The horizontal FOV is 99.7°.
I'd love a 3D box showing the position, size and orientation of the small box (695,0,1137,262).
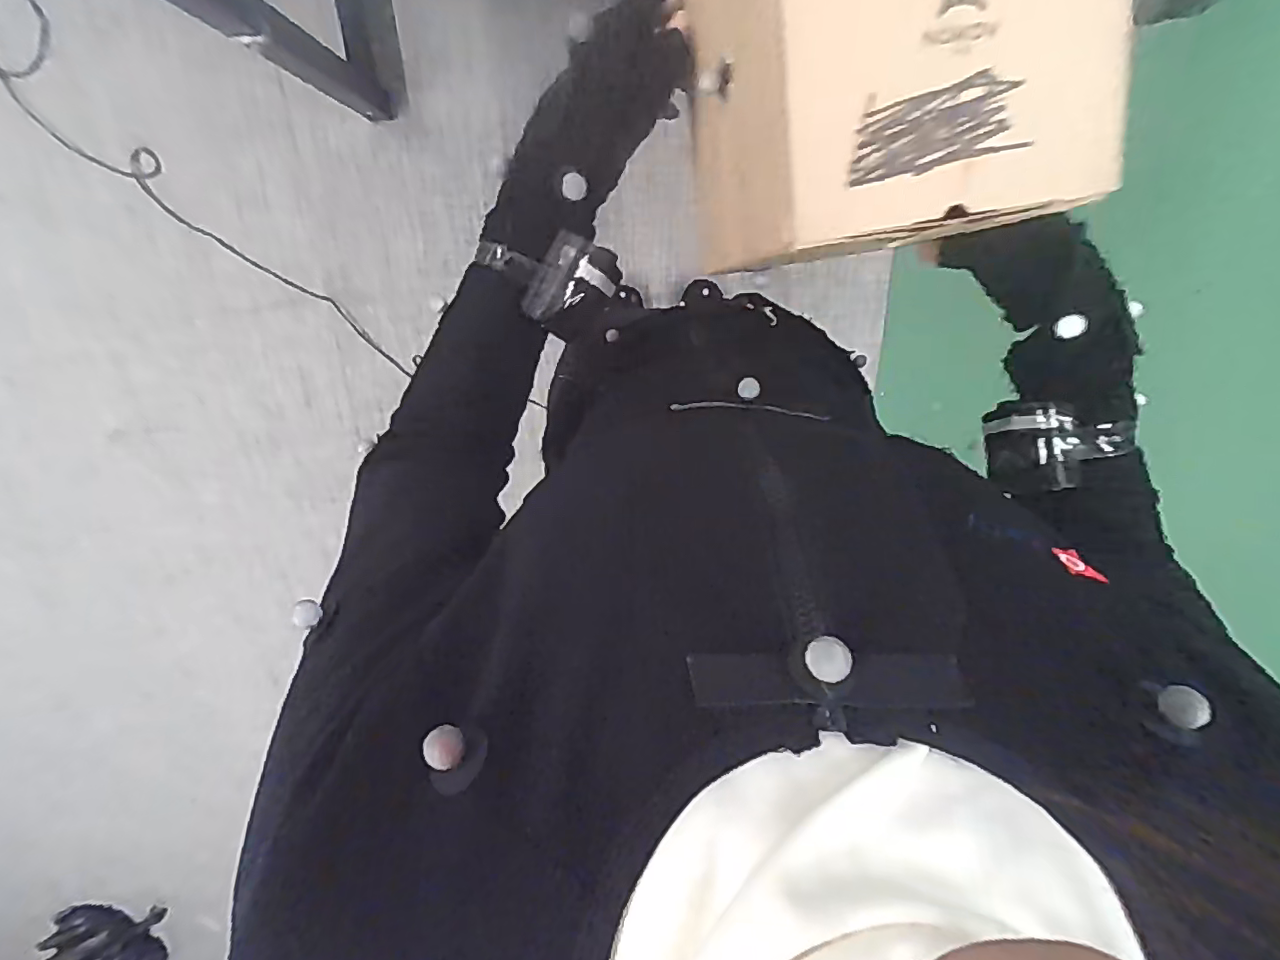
[{"bbox_3d":[0.135,-0.233,0.318,0.168,0.176,0.179,-10,107,-4],"label":"small box"}]
